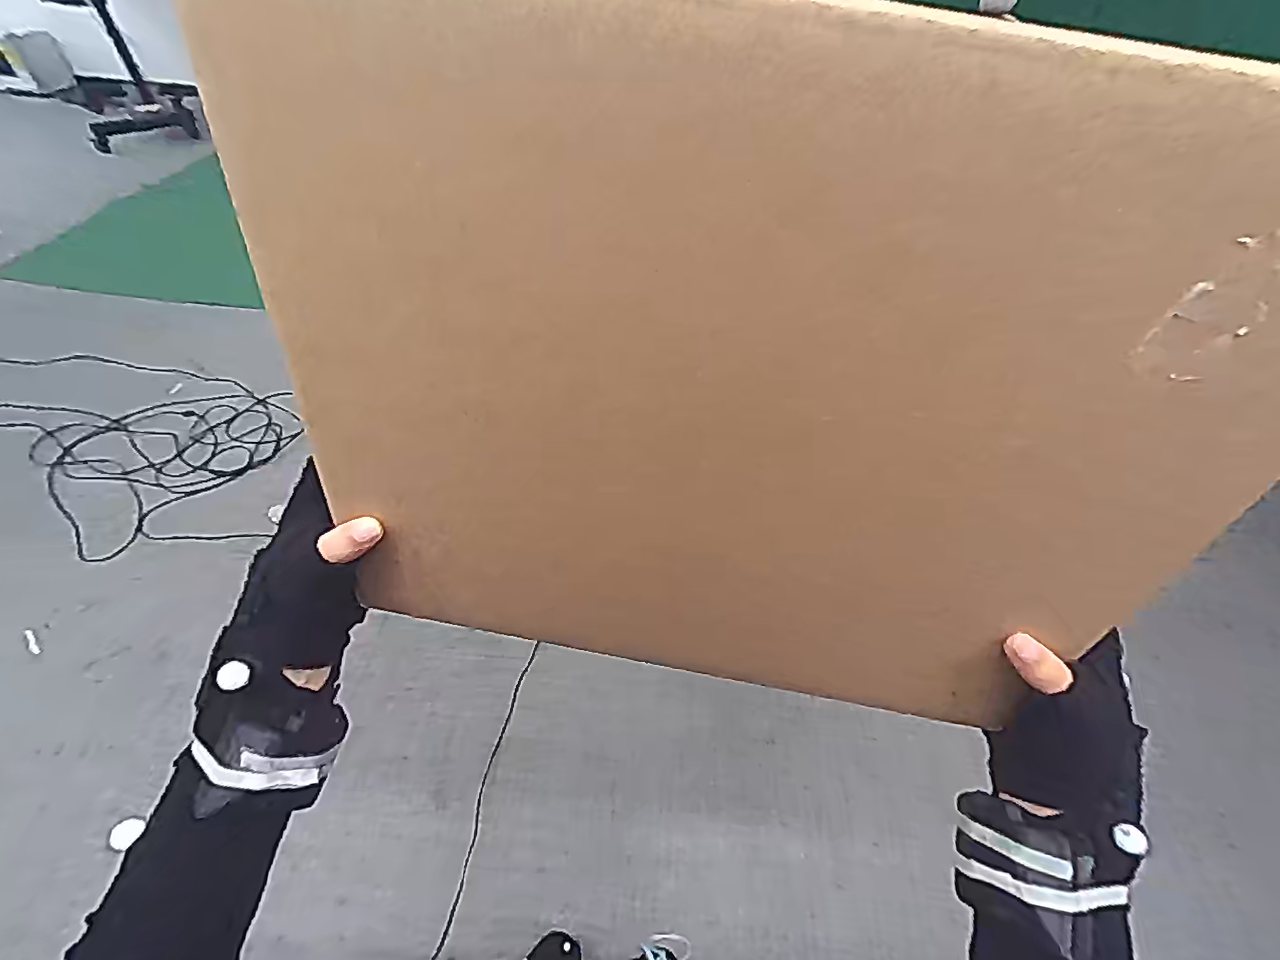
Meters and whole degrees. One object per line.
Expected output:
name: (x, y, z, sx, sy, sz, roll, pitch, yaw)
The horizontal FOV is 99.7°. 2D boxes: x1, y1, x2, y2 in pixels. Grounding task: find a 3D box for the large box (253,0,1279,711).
large box: (0.068, -0.092, 0.364, 0.408, 0.320, 0.320, 11, 39, 0)
